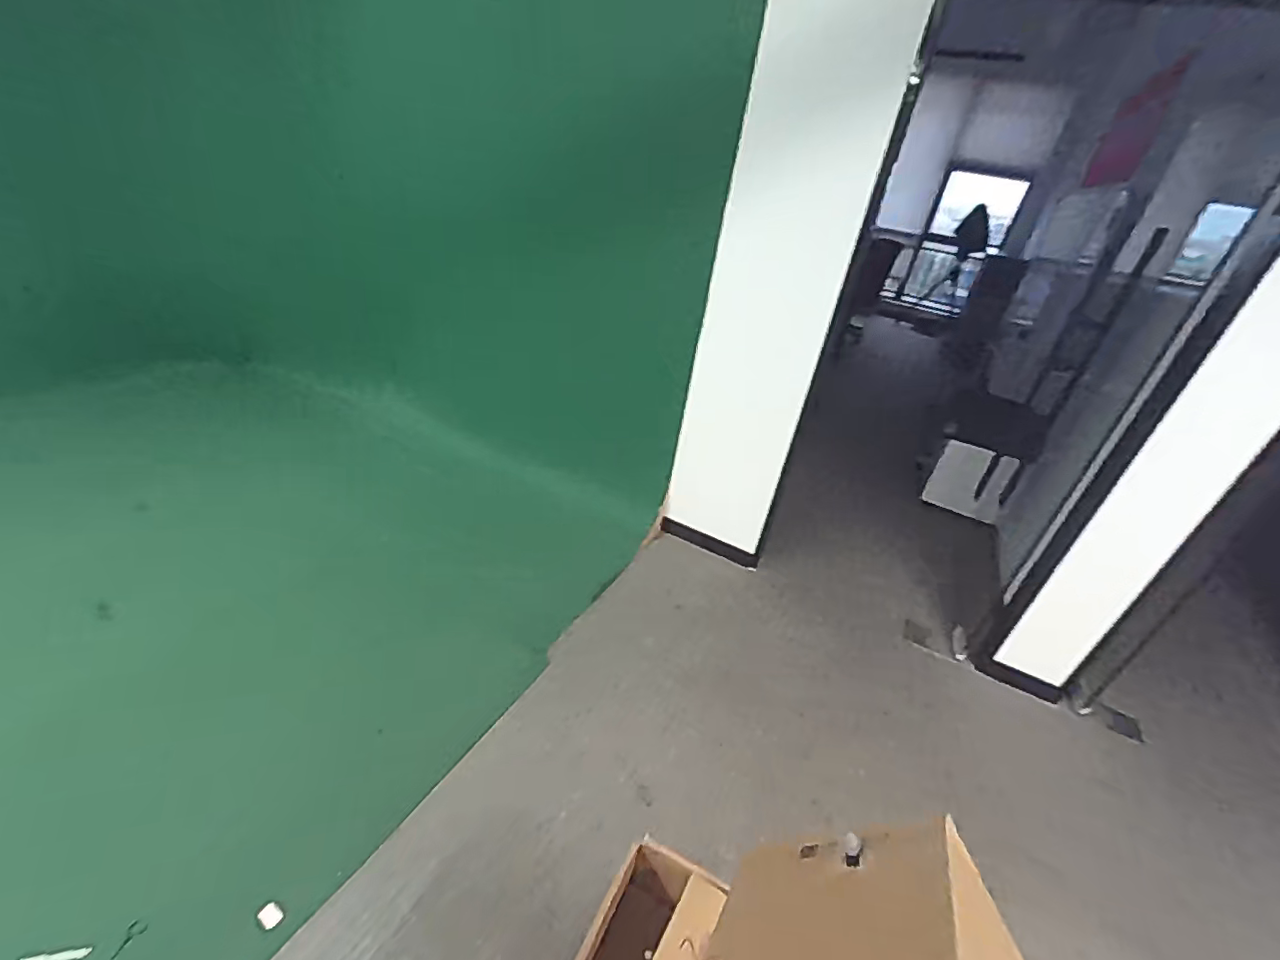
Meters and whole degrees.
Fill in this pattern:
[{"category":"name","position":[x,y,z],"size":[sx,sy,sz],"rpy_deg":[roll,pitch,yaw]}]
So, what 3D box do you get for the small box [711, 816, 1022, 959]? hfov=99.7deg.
[{"category":"small box","position":[0.160,0.356,0.339],"size":[0.176,0.168,0.179],"rpy_deg":[-9,73,-64]}]
